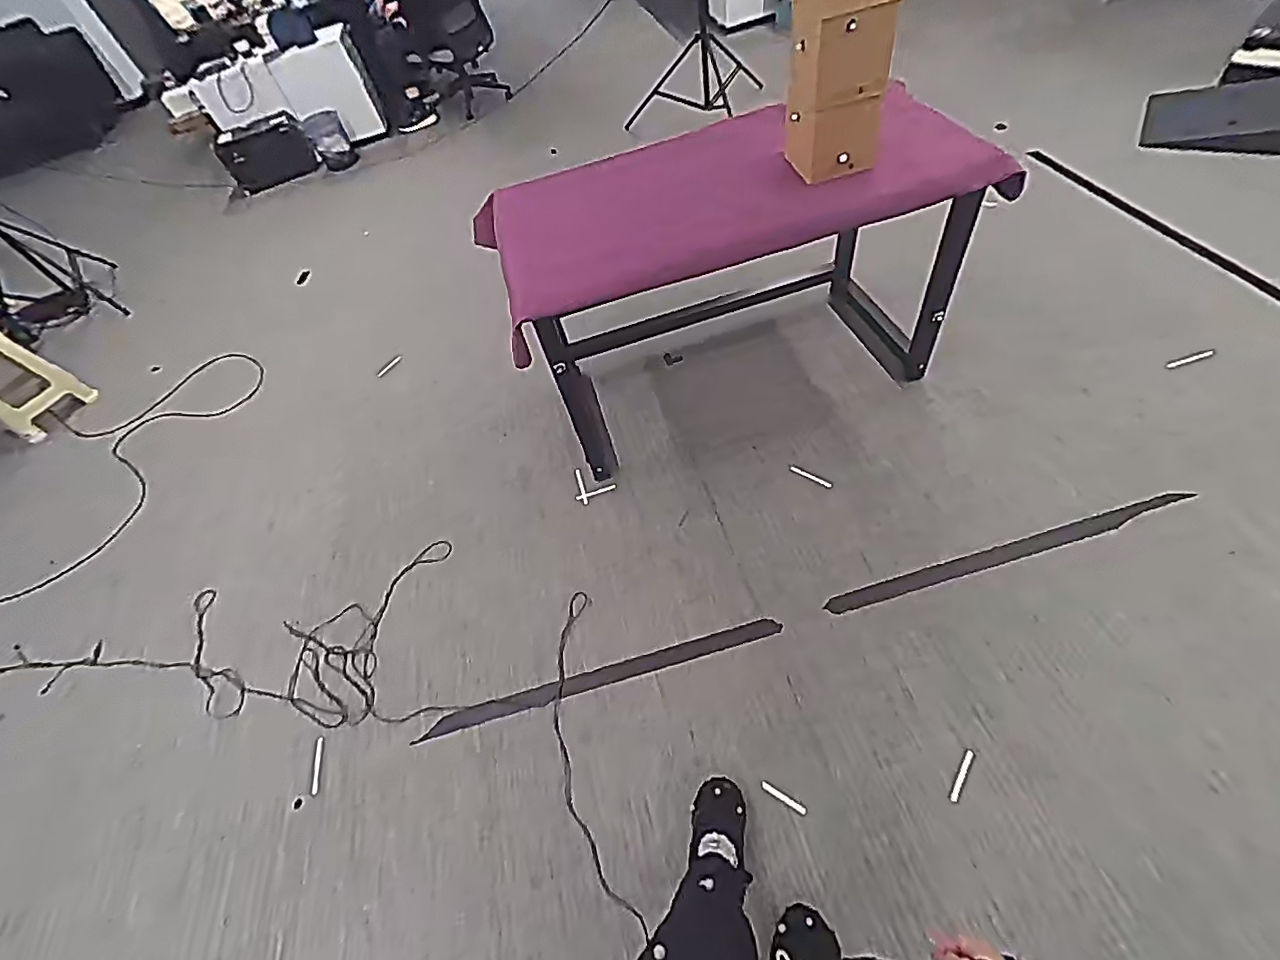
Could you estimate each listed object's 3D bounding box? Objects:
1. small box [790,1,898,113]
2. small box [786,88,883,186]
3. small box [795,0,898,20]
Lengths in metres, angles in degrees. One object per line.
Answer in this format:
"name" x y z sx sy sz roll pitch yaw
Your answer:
"small box" 0.438 -0.947 1.193 0.168 0.176 0.179 -14 53 3
"small box" 0.465 -0.857 1.327 0.168 0.176 0.179 -16 54 1
"small box" 0.412 -1.035 1.058 0.168 0.176 0.179 -14 53 3
